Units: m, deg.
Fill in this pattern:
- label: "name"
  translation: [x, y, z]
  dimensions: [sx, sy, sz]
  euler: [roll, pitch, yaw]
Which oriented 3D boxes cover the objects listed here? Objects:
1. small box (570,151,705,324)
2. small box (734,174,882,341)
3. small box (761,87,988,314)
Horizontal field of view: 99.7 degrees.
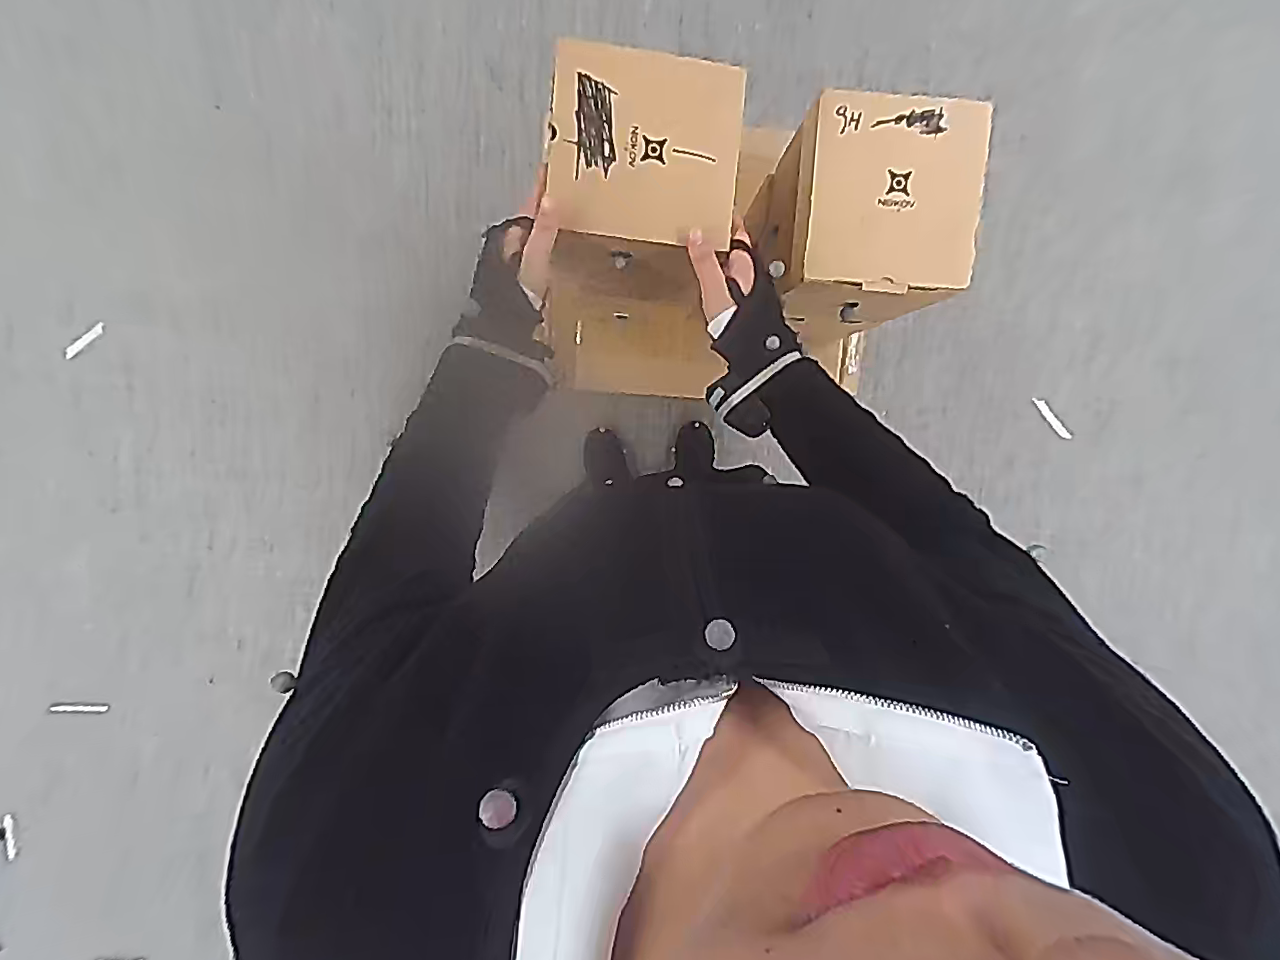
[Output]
- label: "small box"
  translation: [-0.008, -0.323, 0.753]
  dimensions: [0.168, 0.176, 0.179]
  euler: [2, 98, -2]
- label: "small box"
  translation: [0.231, -0.301, 0.762]
  dimensions: [0.168, 0.176, 0.179]
  euler: [2, 97, -1]
- label: "small box"
  translation: [0.238, -0.287, 0.598]
  dimensions: [0.168, 0.176, 0.179]
  euler: [4, 98, -2]
